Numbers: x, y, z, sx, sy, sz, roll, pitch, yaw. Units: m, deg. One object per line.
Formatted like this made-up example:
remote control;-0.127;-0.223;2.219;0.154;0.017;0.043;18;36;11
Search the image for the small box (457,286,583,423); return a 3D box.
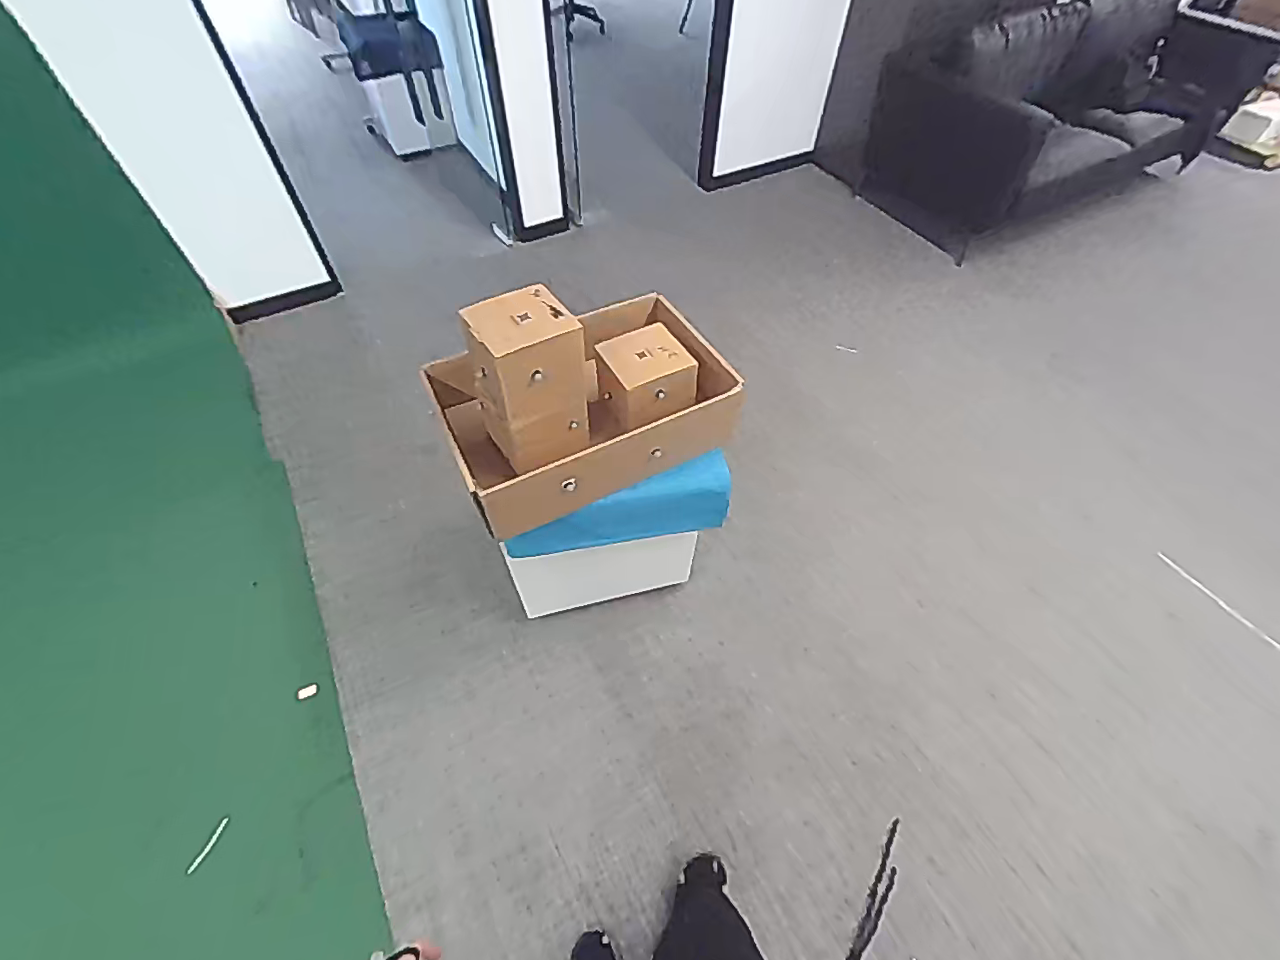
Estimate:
small box;-0.224;-0.239;1.047;0.179;0.176;0.168;-27;58;-21
